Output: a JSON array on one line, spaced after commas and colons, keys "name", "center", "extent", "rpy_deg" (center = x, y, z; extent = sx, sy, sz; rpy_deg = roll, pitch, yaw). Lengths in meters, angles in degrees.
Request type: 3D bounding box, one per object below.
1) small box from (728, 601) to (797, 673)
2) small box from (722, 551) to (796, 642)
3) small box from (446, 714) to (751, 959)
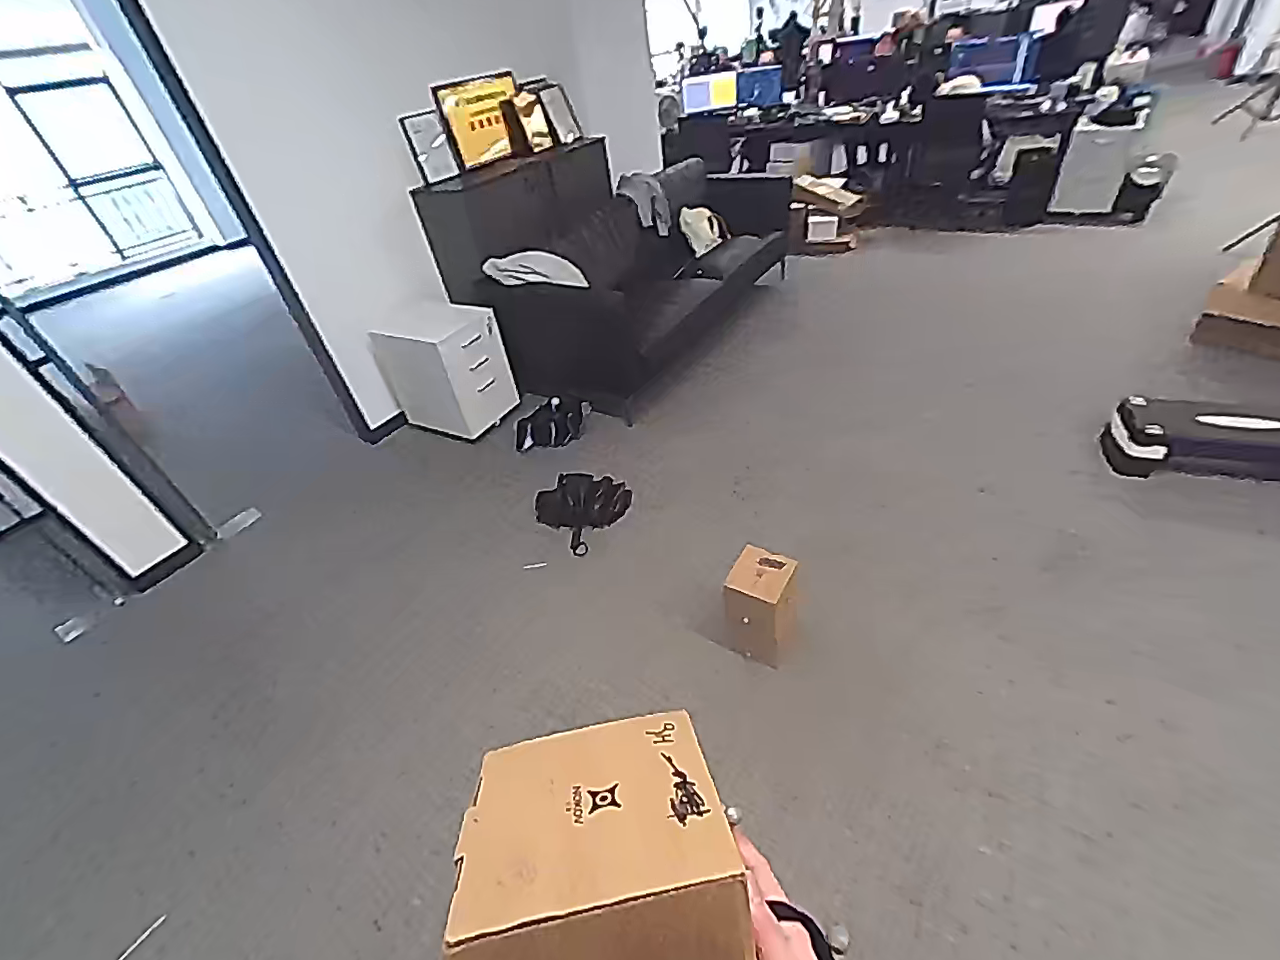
[{"name": "small box", "center": [0.391, 0.477, 1.731], "extent": [0.168, 0.176, 0.179], "rpy_deg": [15, 46, 29]}, {"name": "small box", "center": [0.359, 0.350, 1.631], "extent": [0.168, 0.176, 0.179], "rpy_deg": [16, 46, 30]}, {"name": "small box", "center": [-0.021, 0.308, 0.397], "extent": [0.179, 0.176, 0.168], "rpy_deg": [-8, 10, -6]}]
